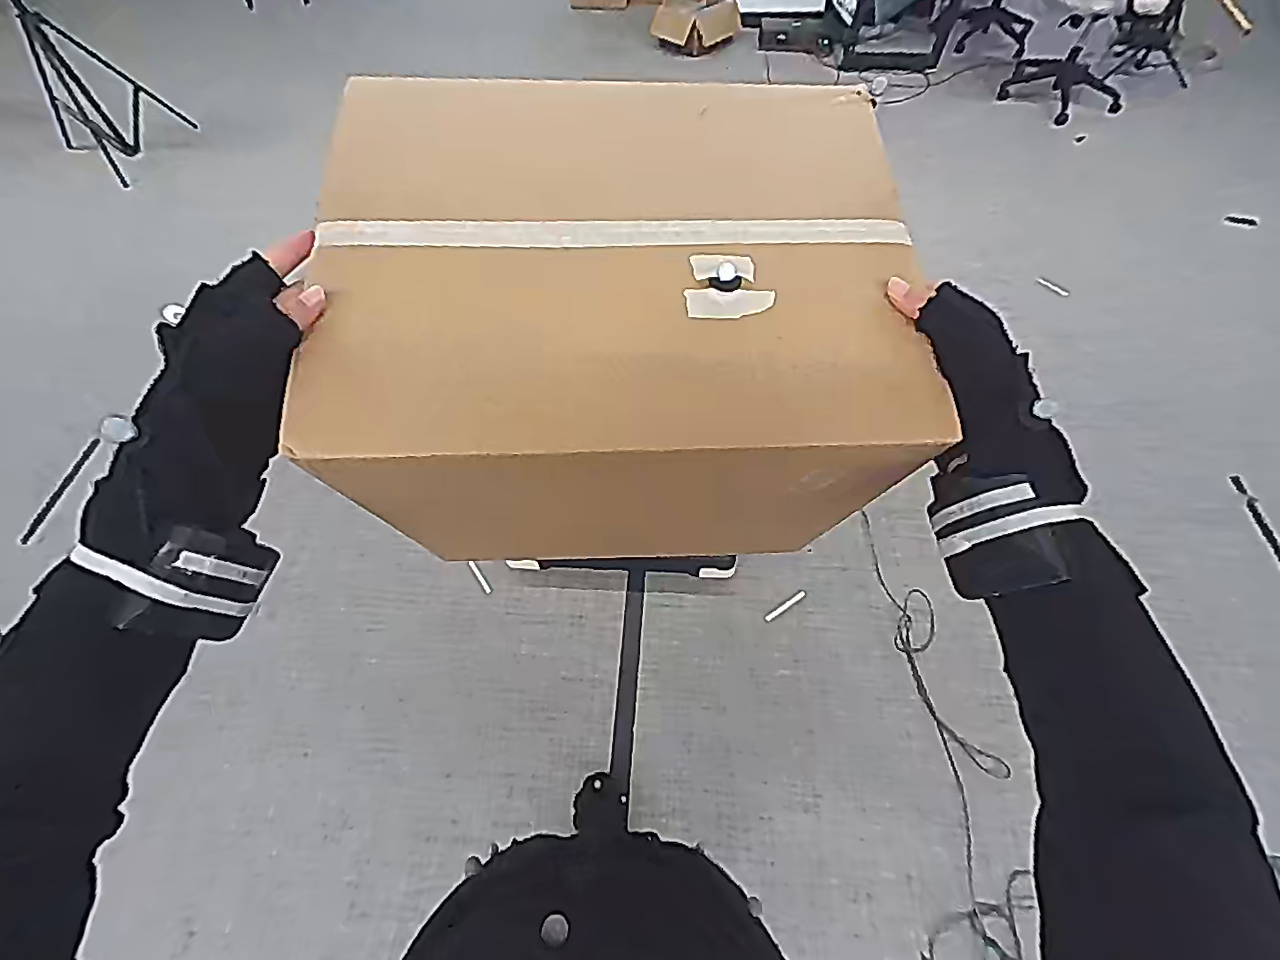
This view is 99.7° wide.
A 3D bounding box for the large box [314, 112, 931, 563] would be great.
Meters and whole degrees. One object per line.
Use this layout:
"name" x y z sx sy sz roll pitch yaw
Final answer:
"large box" -0.020 -0.109 0.533 0.408 0.320 0.320 -1 70 -4
